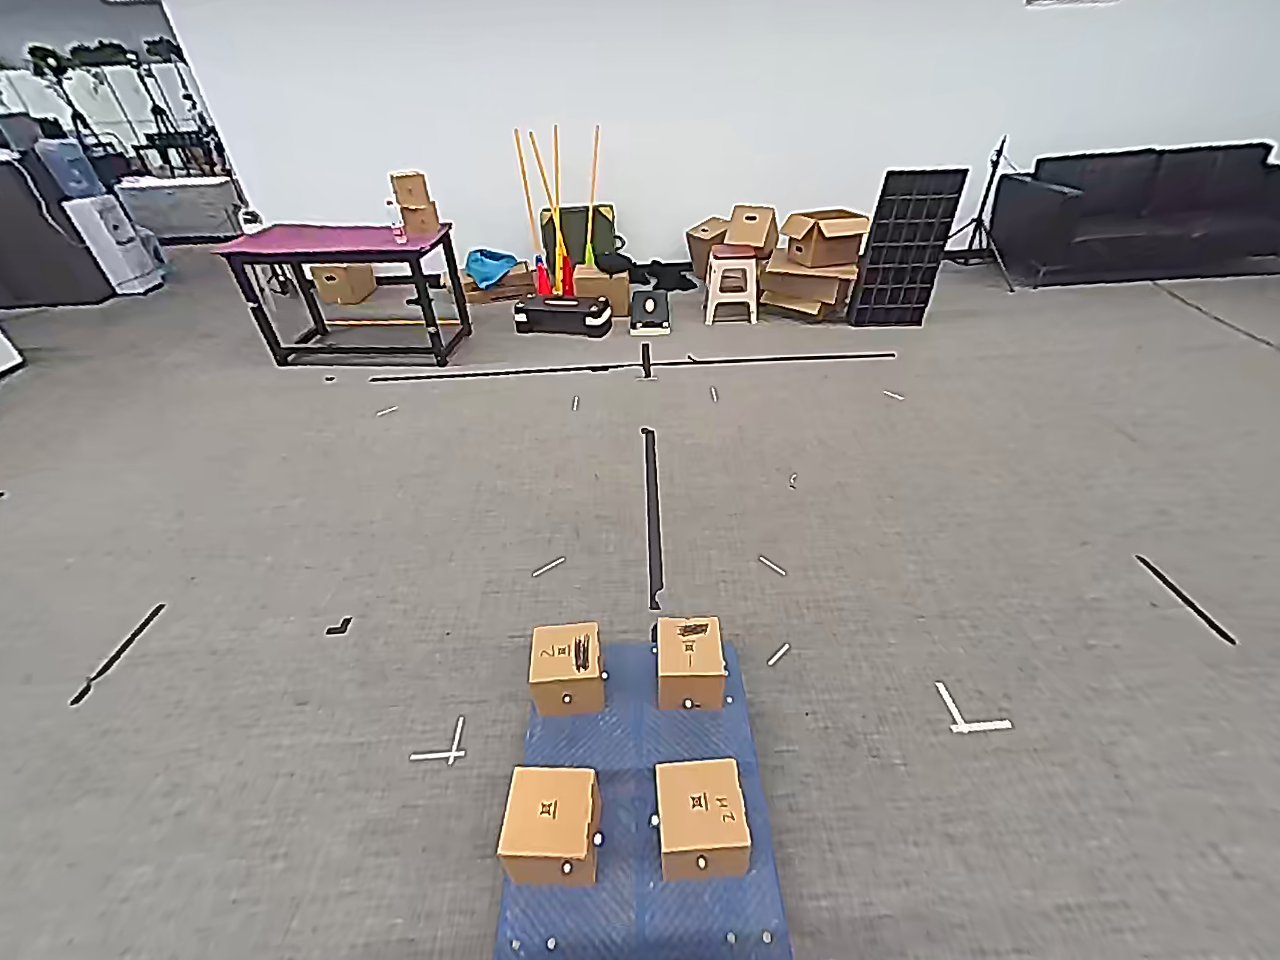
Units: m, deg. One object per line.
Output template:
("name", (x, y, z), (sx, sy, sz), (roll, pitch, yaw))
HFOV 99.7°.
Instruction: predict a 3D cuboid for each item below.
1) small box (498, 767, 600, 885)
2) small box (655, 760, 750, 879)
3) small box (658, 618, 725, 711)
("small box", (-0.183, 0.732, 1.143), (0.179, 0.176, 0.168), (1, 37, 1))
("small box", (0.126, 0.719, 1.142), (0.179, 0.176, 0.168), (-3, 38, -1))
("small box", (0.131, 0.490, 1.438), (0.168, 0.176, 0.179), (-1, 39, 2))
